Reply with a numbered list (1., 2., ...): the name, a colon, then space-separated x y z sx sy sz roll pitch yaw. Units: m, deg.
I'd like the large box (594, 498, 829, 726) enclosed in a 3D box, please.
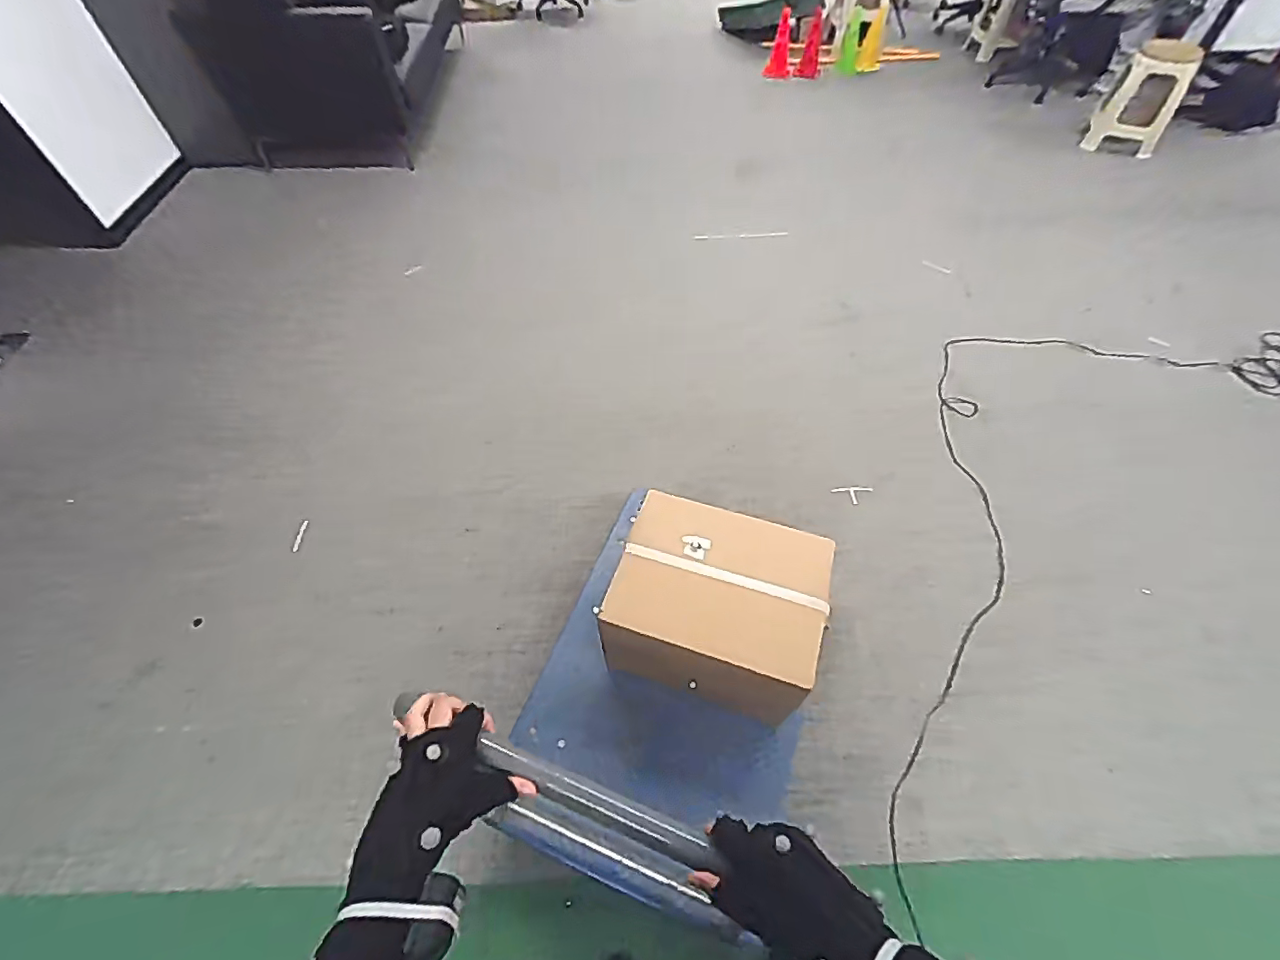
1. large box: 0.156 0.289 1.174 0.408 0.320 0.320 15 55 13
